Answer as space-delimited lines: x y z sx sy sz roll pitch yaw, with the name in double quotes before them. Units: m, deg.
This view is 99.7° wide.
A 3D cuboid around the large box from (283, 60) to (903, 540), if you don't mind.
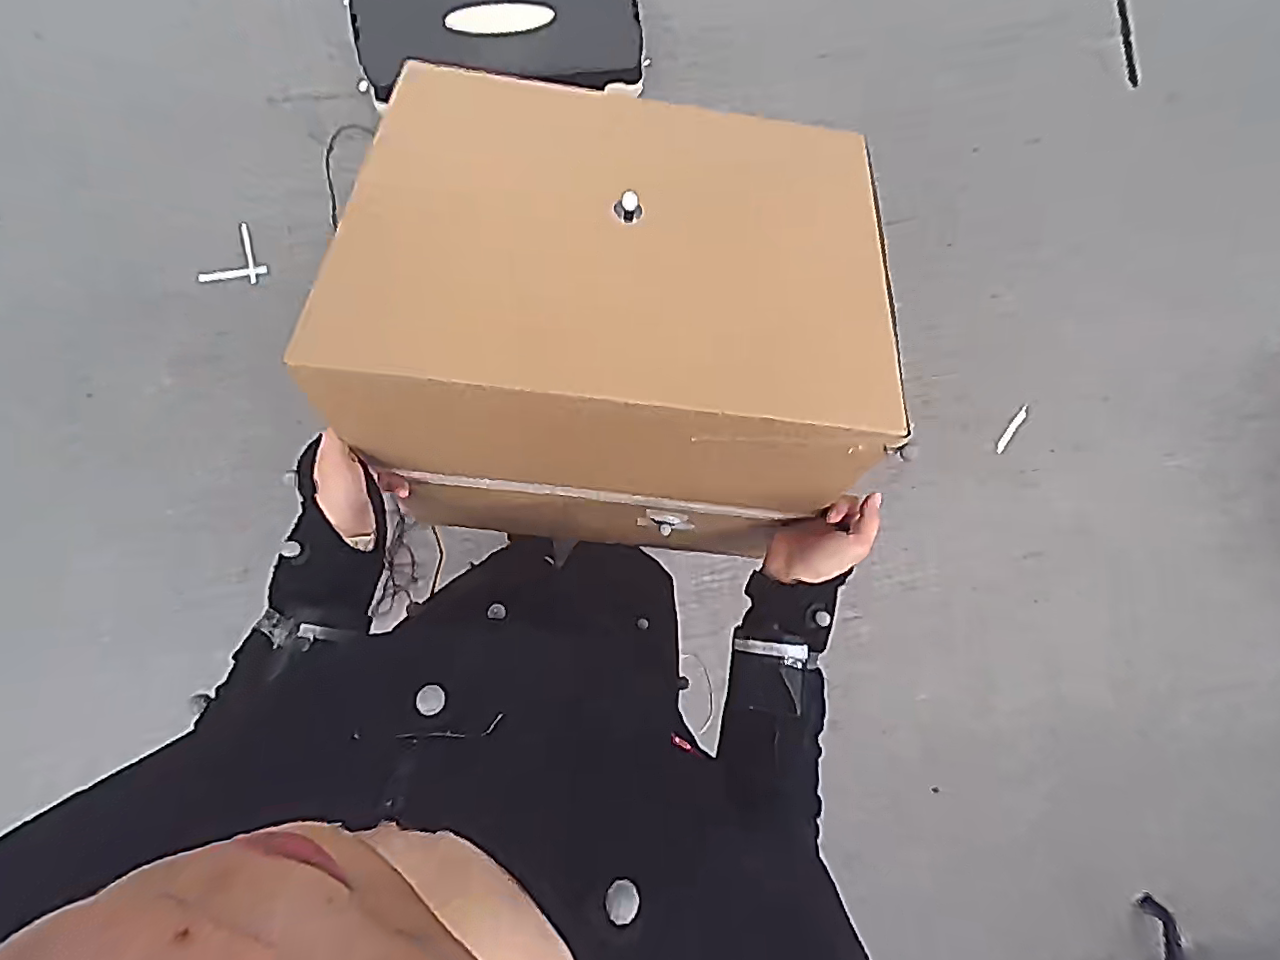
"large box" -0.031 -0.143 0.535 0.408 0.320 0.320 5 68 -3
